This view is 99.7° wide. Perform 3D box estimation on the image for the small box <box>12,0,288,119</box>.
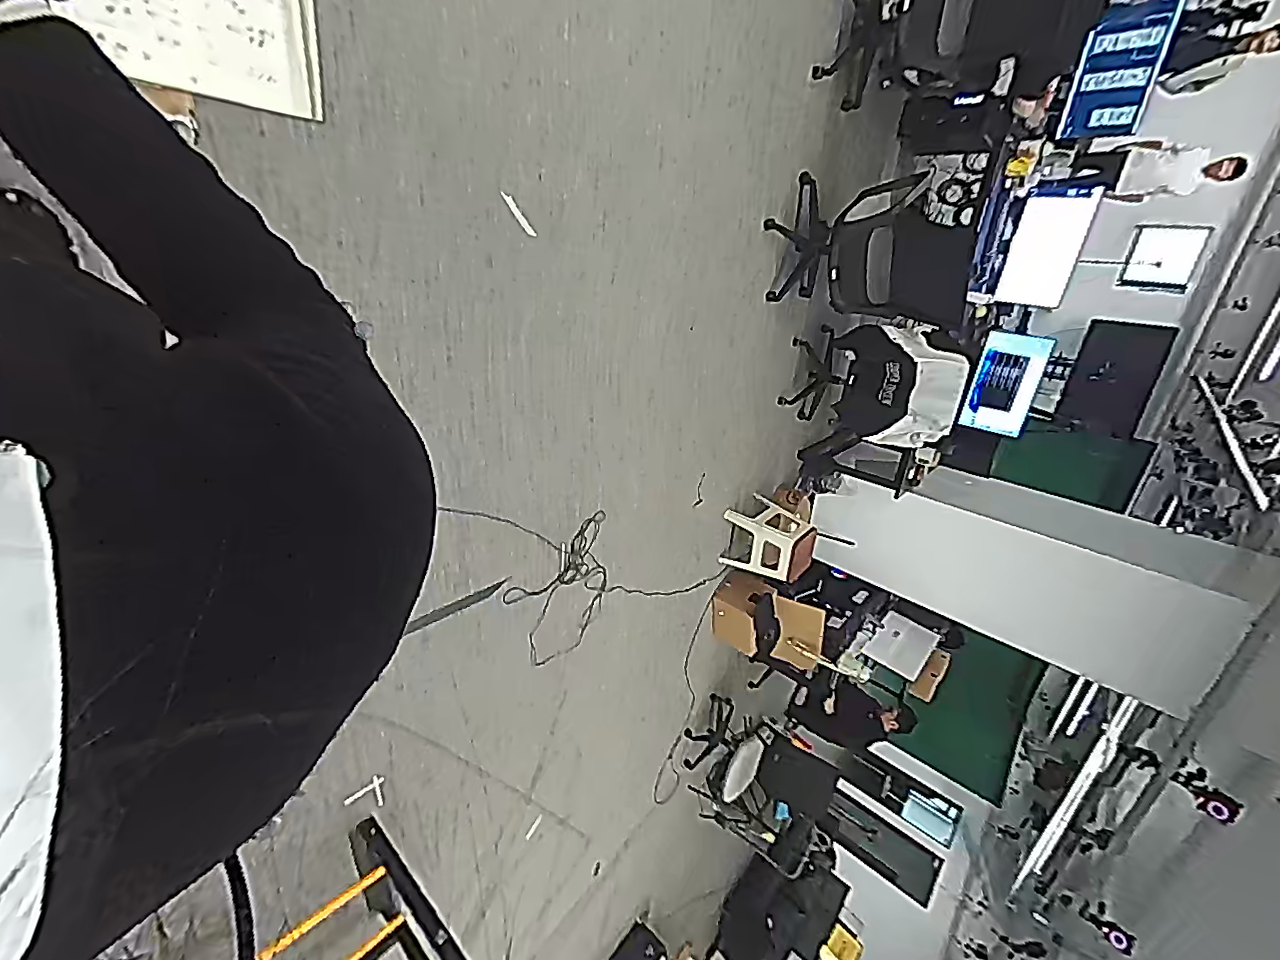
[{"bbox_3d":[-0.463,-0.459,0.503,0.168,0.176,0.179,-21,126,-48],"label":"small box"}]
